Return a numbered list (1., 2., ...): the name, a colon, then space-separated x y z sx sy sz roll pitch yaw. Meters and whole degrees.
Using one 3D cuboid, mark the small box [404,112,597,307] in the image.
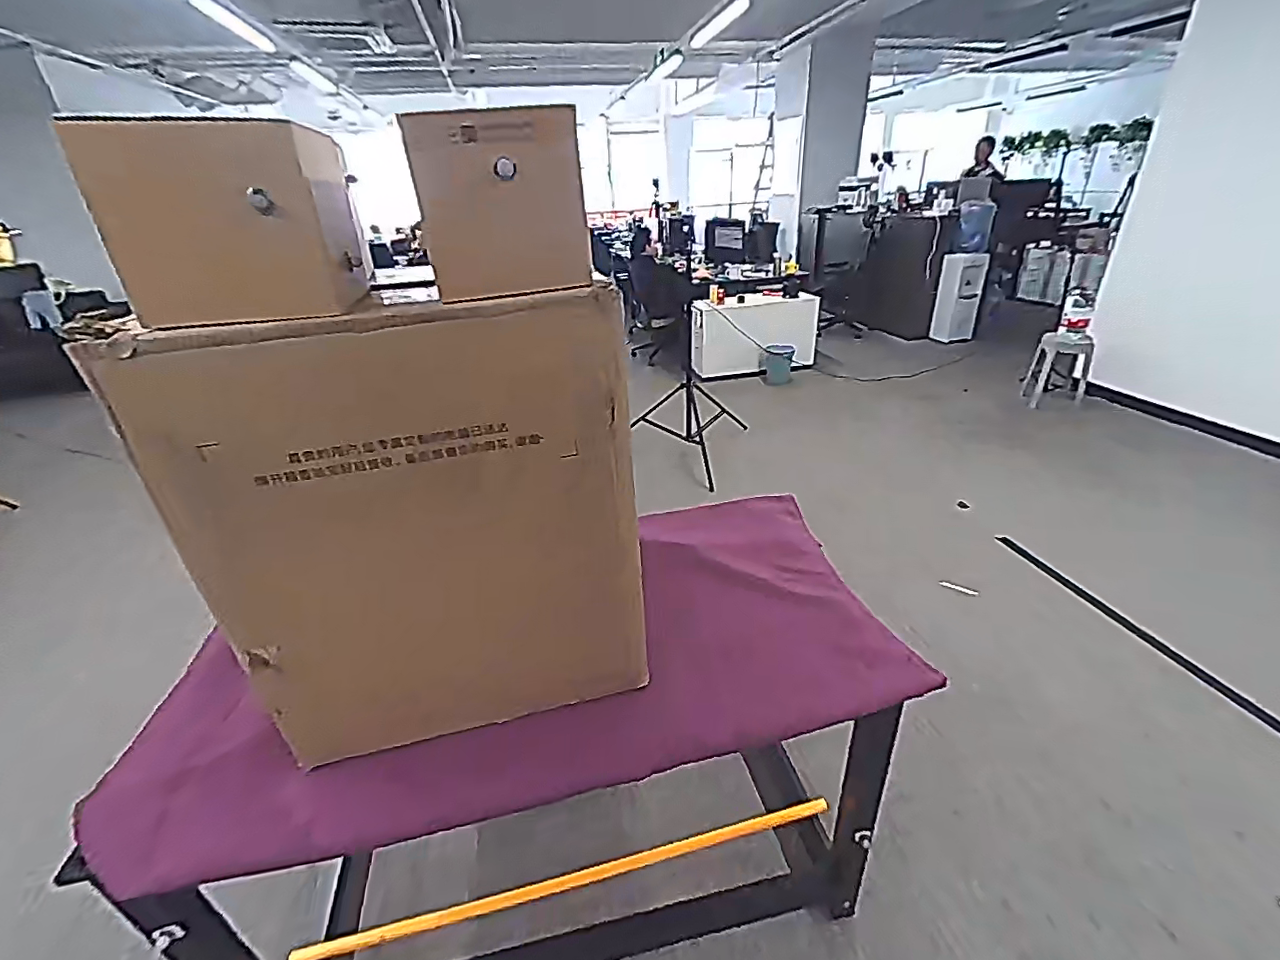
1. small box: -0.152 -0.304 0.608 0.168 0.176 0.179 -11 29 -11
